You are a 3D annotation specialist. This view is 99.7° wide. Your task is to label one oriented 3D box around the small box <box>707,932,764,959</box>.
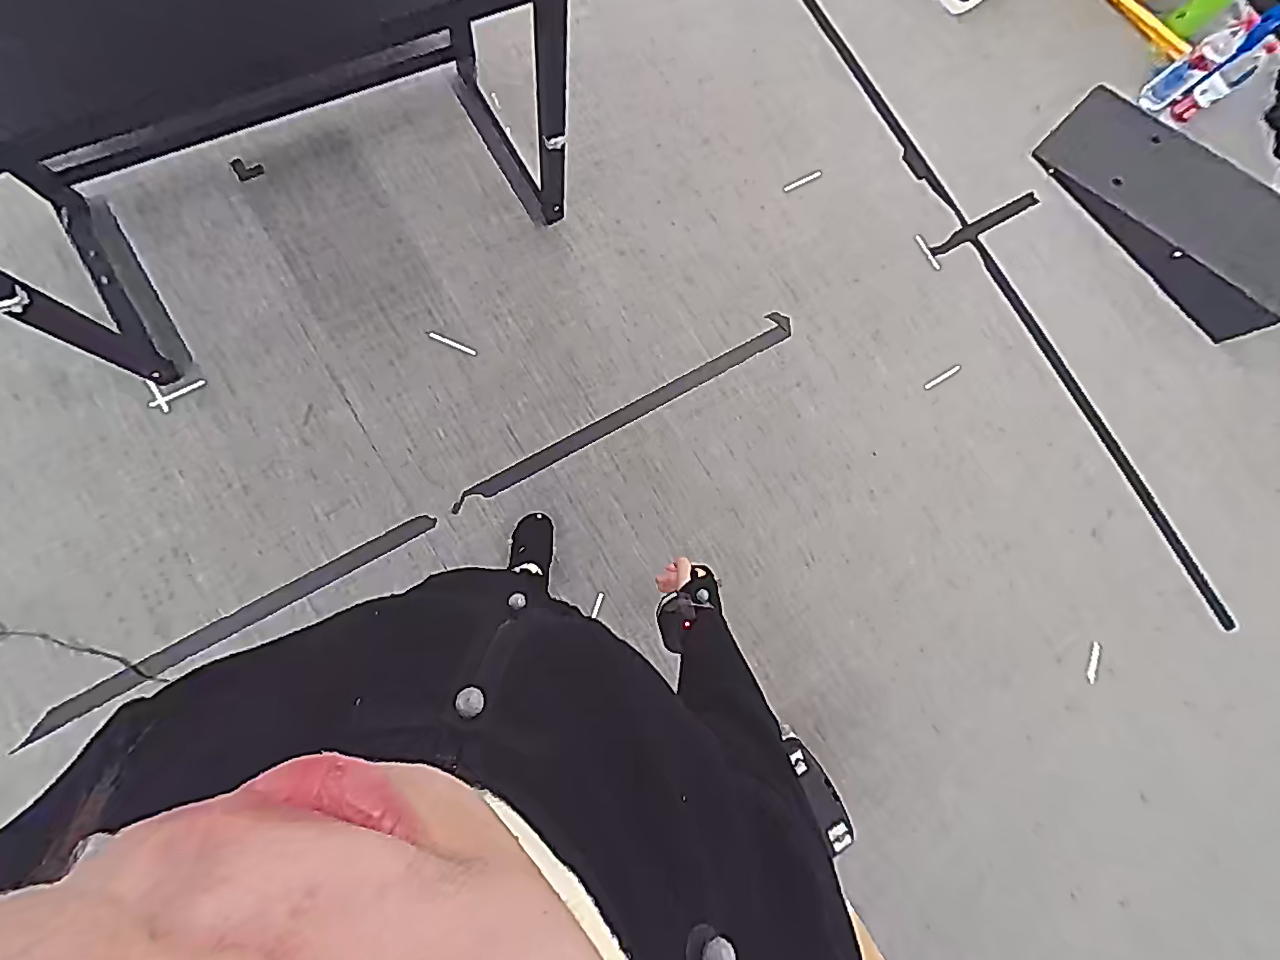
[{"bbox_3d":[0.164,0.886,0.850,0.179,0.176,0.168,-29,86,-13],"label":"small box"}]
